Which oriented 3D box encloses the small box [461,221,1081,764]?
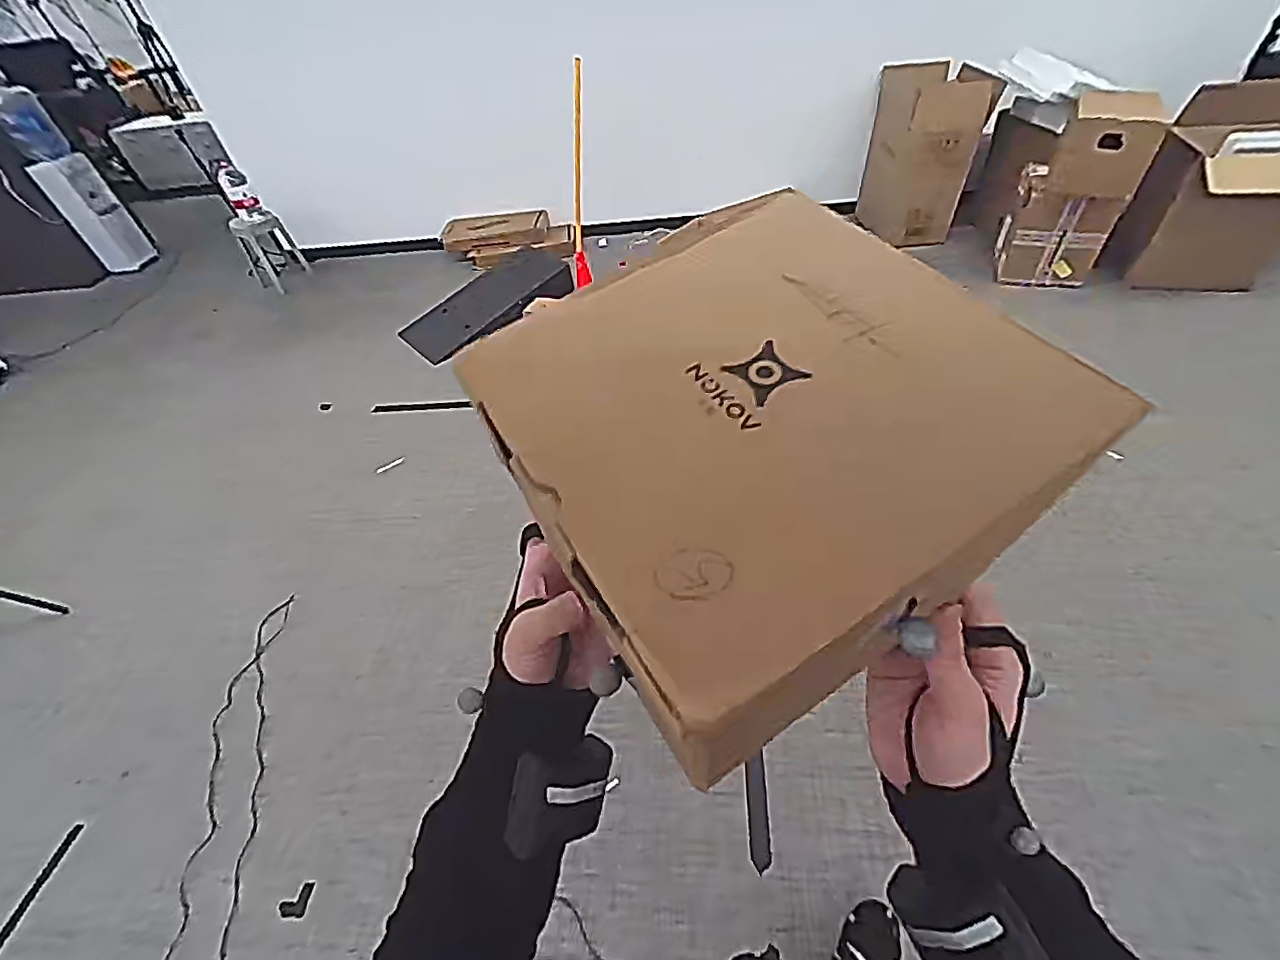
[{"bbox_3d":[0.047,0.014,0.272,0.179,0.176,0.168,-32,59,-13],"label":"small box"}]
